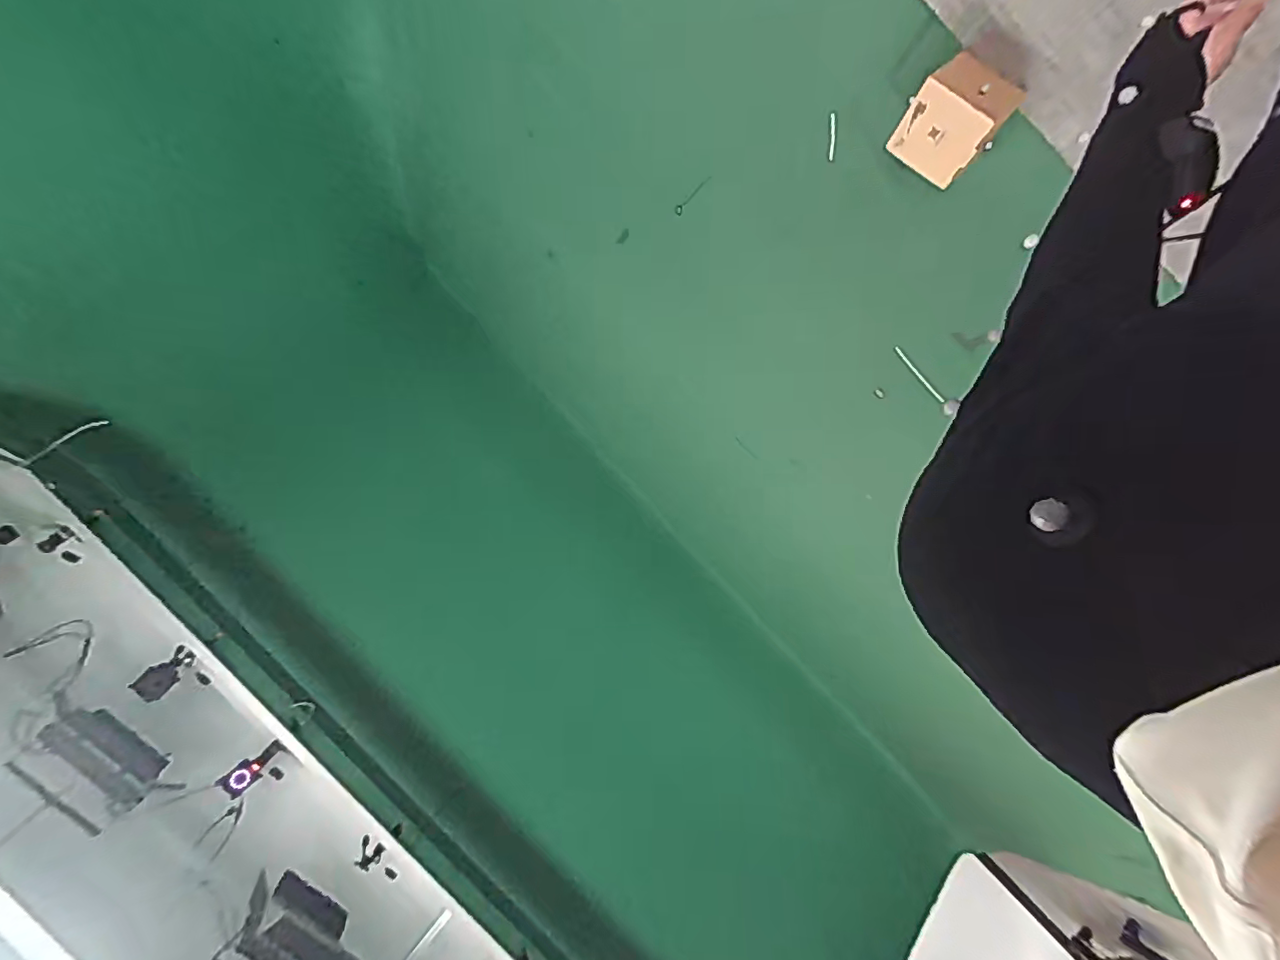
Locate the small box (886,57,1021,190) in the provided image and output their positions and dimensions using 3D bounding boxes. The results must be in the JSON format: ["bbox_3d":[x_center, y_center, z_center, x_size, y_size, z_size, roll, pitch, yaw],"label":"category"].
[{"bbox_3d":[0.715,-0.815,1.233,0.179,0.176,0.168,42,156,8],"label":"small box"}]
